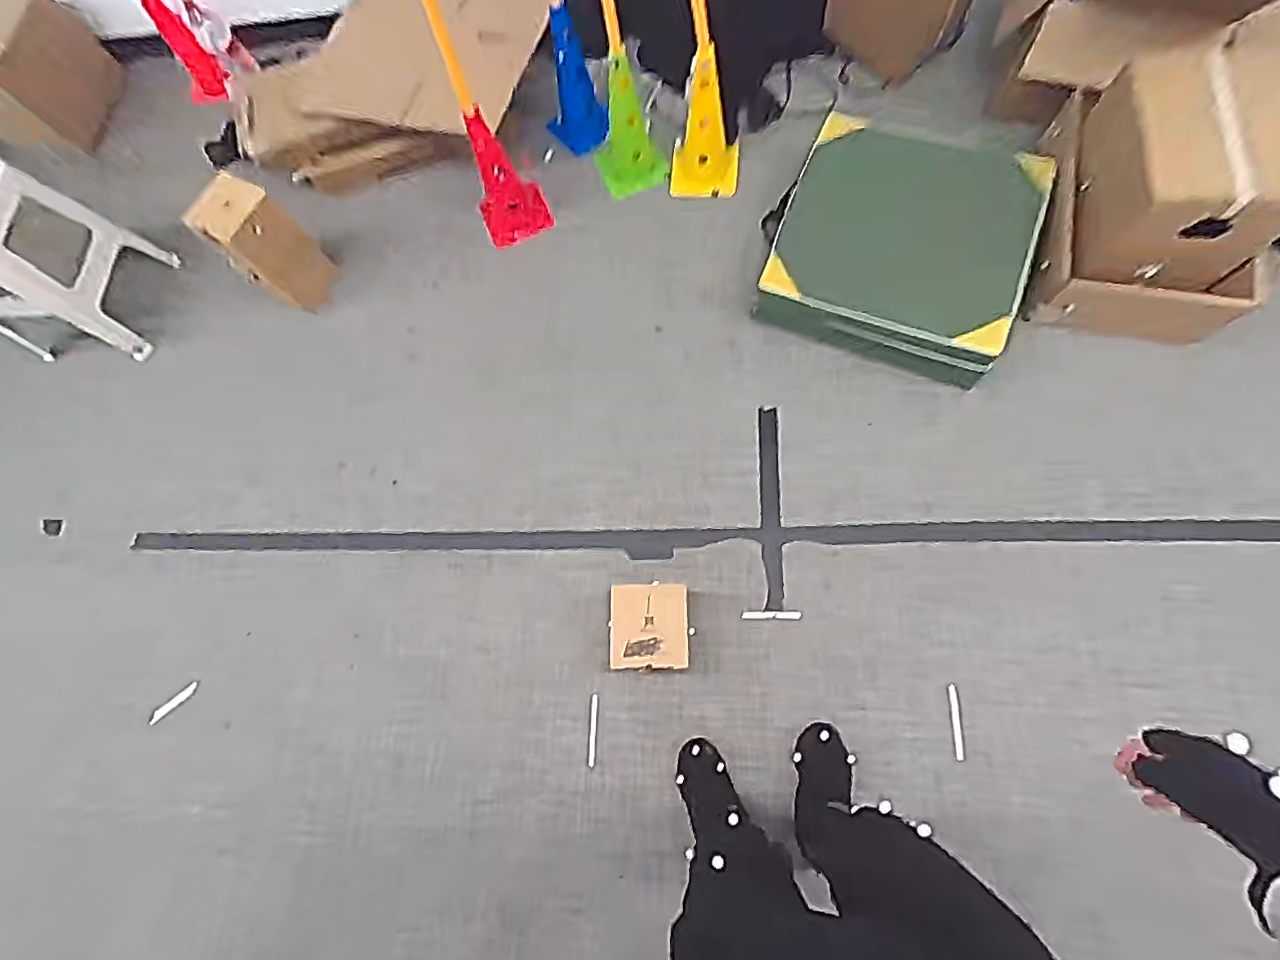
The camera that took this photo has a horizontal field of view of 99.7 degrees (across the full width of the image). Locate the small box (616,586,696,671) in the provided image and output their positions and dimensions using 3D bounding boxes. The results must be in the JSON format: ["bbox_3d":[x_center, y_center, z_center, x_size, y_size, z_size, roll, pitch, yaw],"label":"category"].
[{"bbox_3d":[0.041,0.337,1.226,0.168,0.176,0.179,-2,72,7],"label":"small box"}]
